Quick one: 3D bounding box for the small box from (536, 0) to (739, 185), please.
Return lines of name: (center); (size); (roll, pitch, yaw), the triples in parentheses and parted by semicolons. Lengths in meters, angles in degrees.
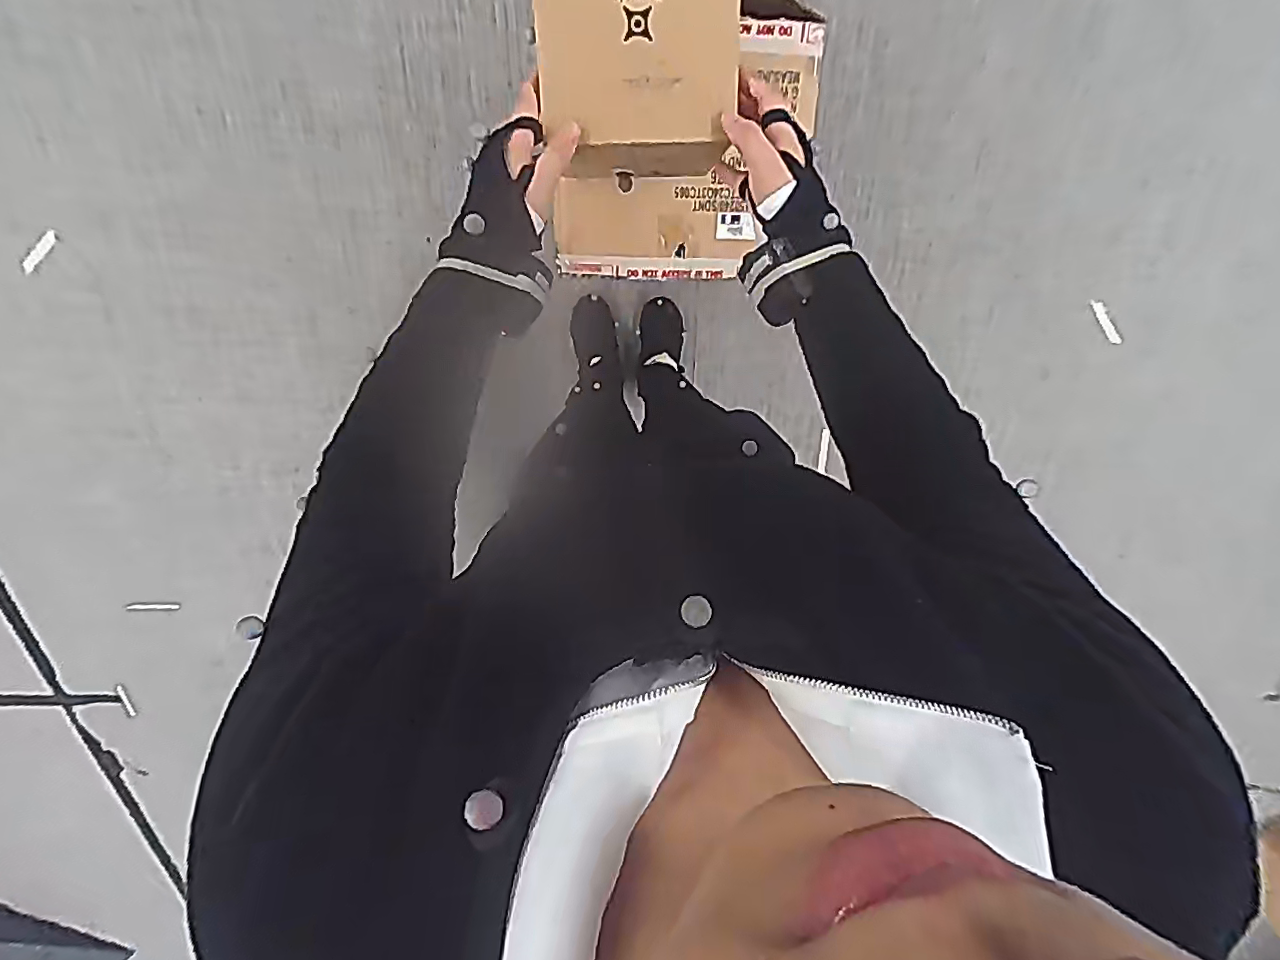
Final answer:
small box: (-0.004, -0.395, 0.510); (0.168, 0.176, 0.179); (-3, 109, 0)
